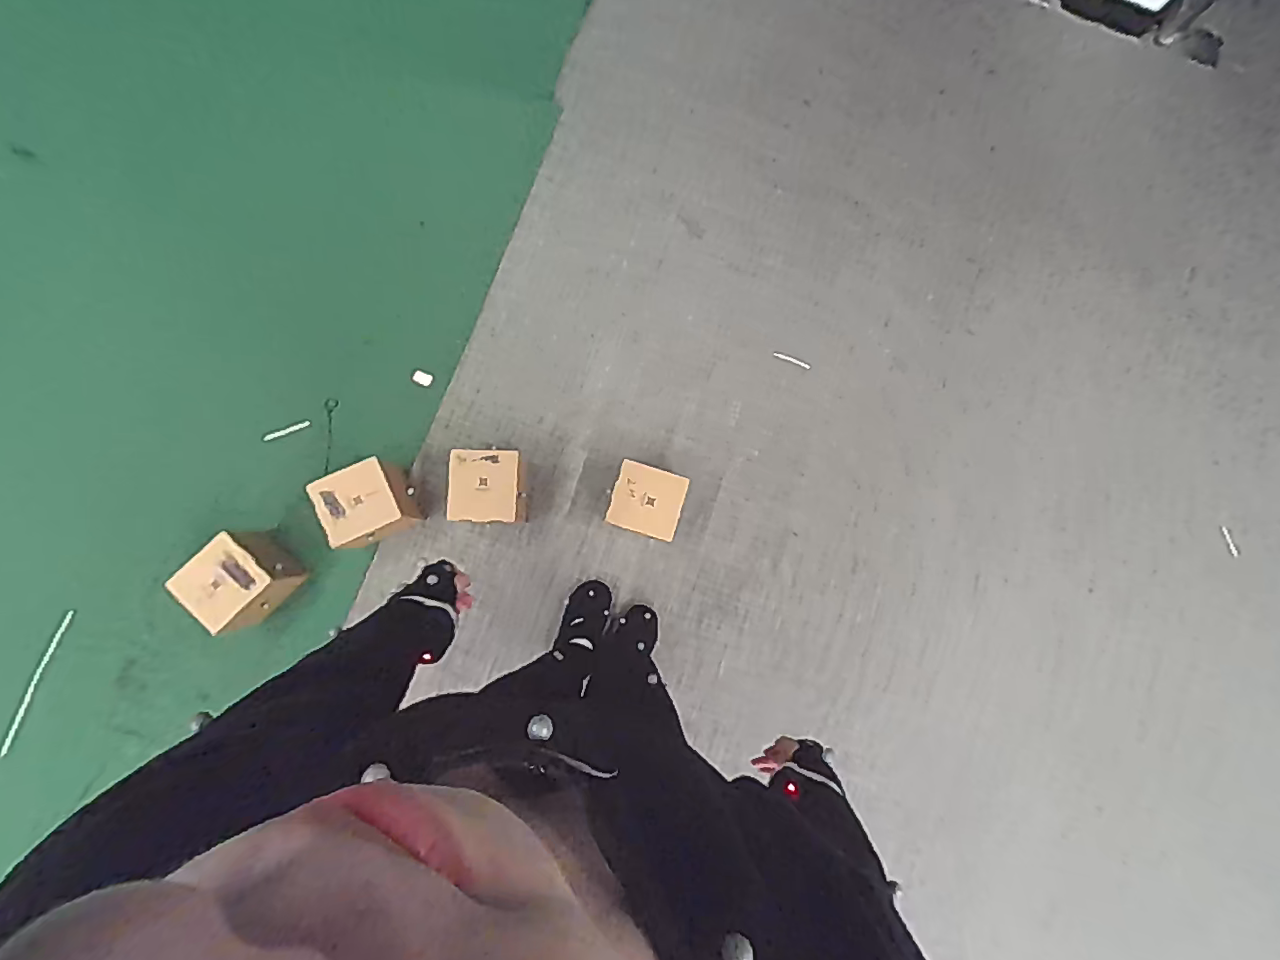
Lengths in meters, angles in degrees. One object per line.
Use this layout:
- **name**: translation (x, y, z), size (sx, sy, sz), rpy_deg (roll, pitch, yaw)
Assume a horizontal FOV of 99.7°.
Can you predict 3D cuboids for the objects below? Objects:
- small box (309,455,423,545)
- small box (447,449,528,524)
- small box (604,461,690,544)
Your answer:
- **small box**: translation (-0.680, 0.056, 1.360), size (0.179, 0.176, 0.168), rpy_deg (-24, 86, -7)
- **small box**: translation (-0.383, 0.021, 1.384), size (0.168, 0.176, 0.179), rpy_deg (2, 84, -4)
- **small box**: translation (0.013, 0.061, 1.407), size (0.179, 0.176, 0.168), rpy_deg (19, 83, -2)
